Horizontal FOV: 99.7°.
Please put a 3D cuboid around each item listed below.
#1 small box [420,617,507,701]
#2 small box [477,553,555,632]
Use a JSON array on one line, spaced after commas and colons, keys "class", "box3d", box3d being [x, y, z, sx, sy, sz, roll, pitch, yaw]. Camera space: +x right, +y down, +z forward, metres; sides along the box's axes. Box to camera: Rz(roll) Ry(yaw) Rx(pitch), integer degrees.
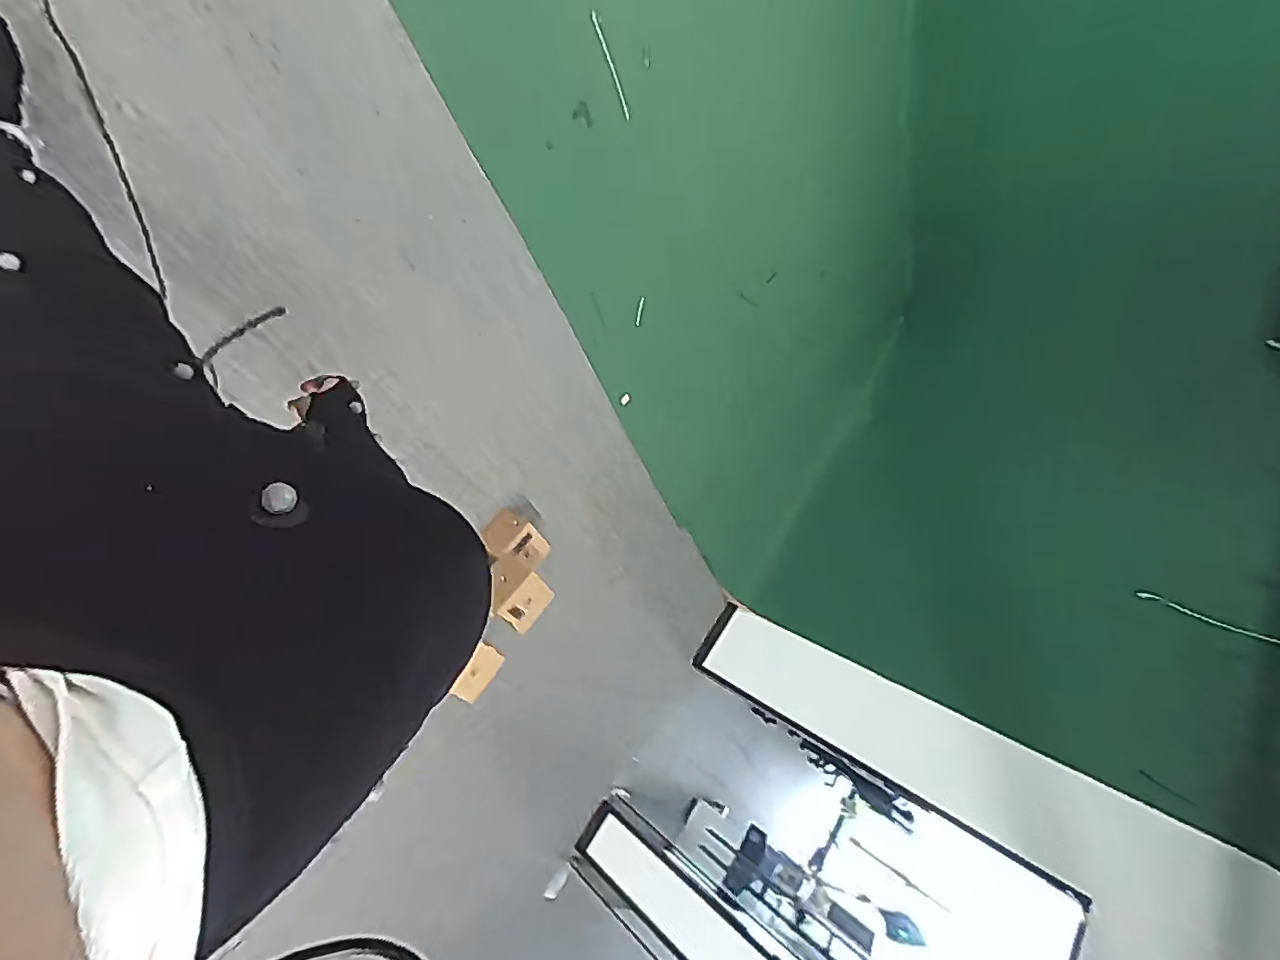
[{"class": "small box", "box3d": [-0.579, 0.579, 1.766, 0.179, 0.176, 0.168, -51, 137, -18]}, {"class": "small box", "box3d": [-0.432, 0.382, 1.851, 0.179, 0.176, 0.168, -51, 138, -23]}]
